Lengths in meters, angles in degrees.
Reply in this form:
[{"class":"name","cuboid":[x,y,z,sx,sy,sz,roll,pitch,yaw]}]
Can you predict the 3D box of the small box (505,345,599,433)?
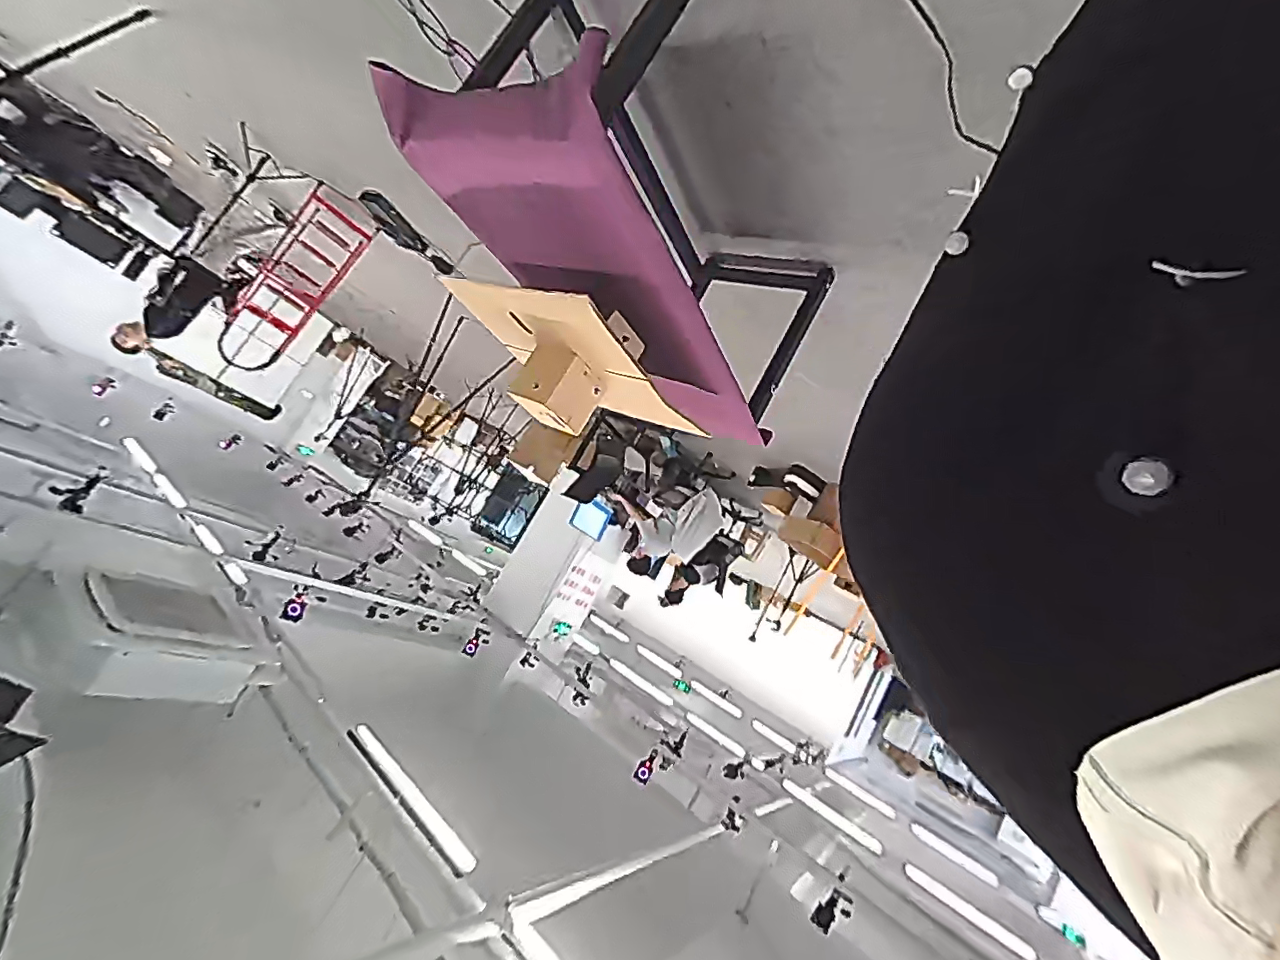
[{"class":"small box","cuboid":[-0.238,-0.260,1.529,0.179,0.176,0.168,23,167,37]}]
